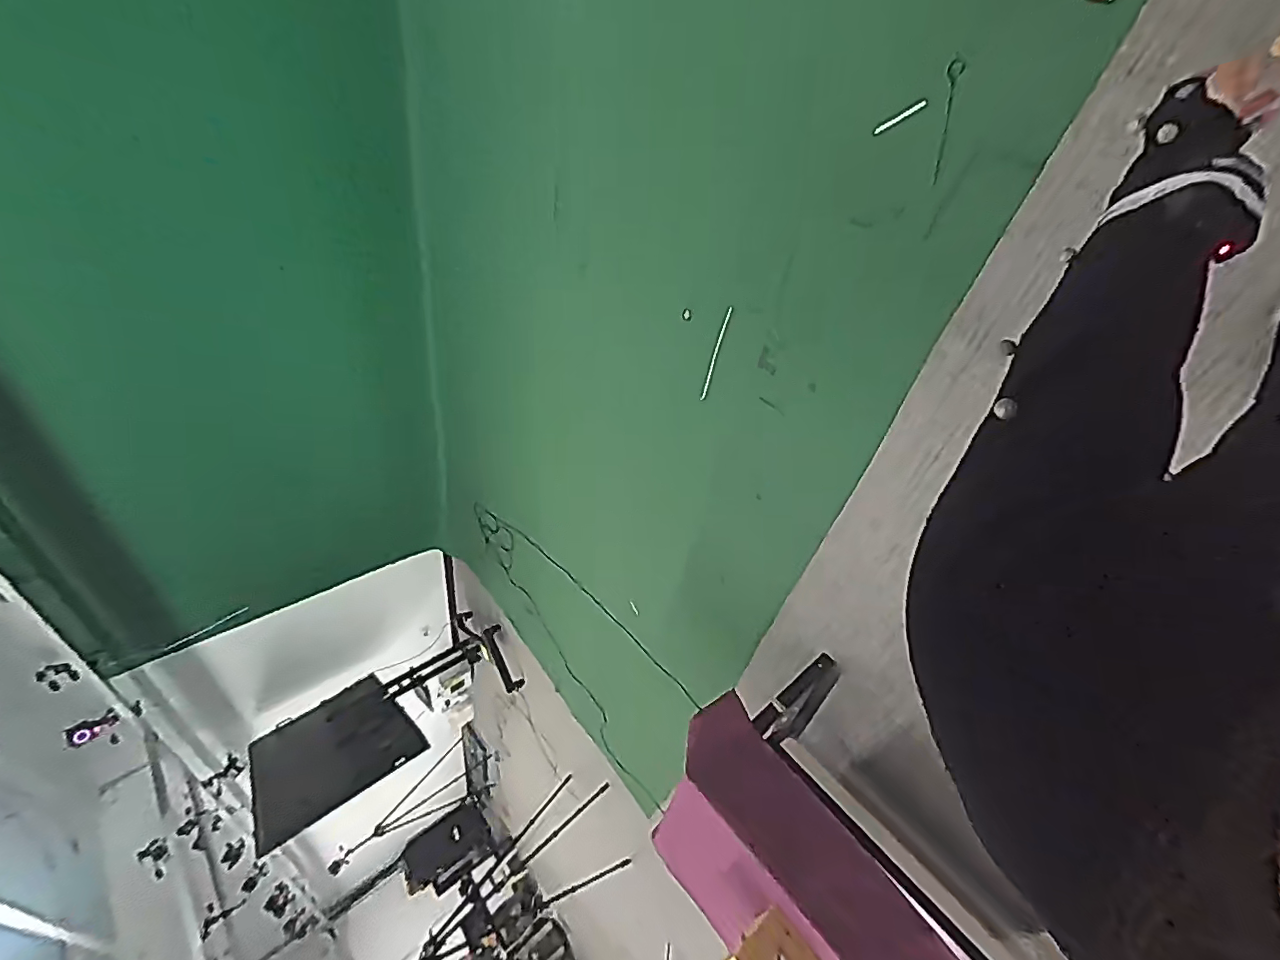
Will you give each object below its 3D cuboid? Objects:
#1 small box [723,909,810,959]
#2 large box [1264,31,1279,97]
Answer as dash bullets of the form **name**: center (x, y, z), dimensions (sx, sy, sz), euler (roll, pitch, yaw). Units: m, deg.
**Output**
- **small box**: center (0.331, 1.273, 1.410), dimensions (0.168, 0.176, 0.179), euler (41, 137, 31)
- **large box**: center (1.035, -0.639, 0.579), dimensions (0.320, 0.320, 0.408), euler (42, 136, 31)
